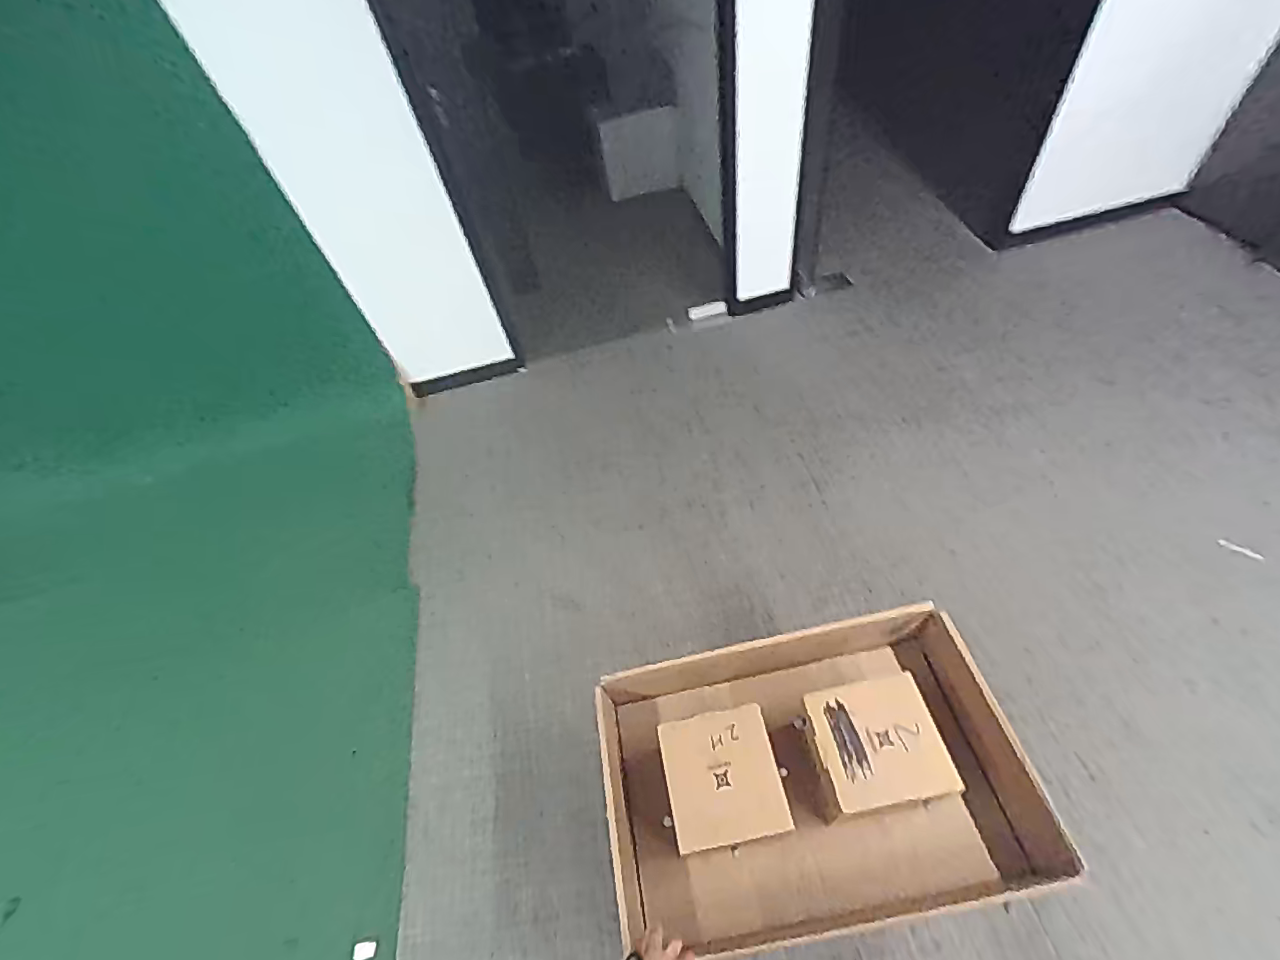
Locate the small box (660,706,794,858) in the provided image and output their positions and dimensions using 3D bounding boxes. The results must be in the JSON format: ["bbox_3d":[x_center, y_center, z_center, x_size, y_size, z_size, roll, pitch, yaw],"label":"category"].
[{"bbox_3d":[0.135,0.482,0.855,0.168,0.176,0.179,-12,52,1],"label":"small box"}]
